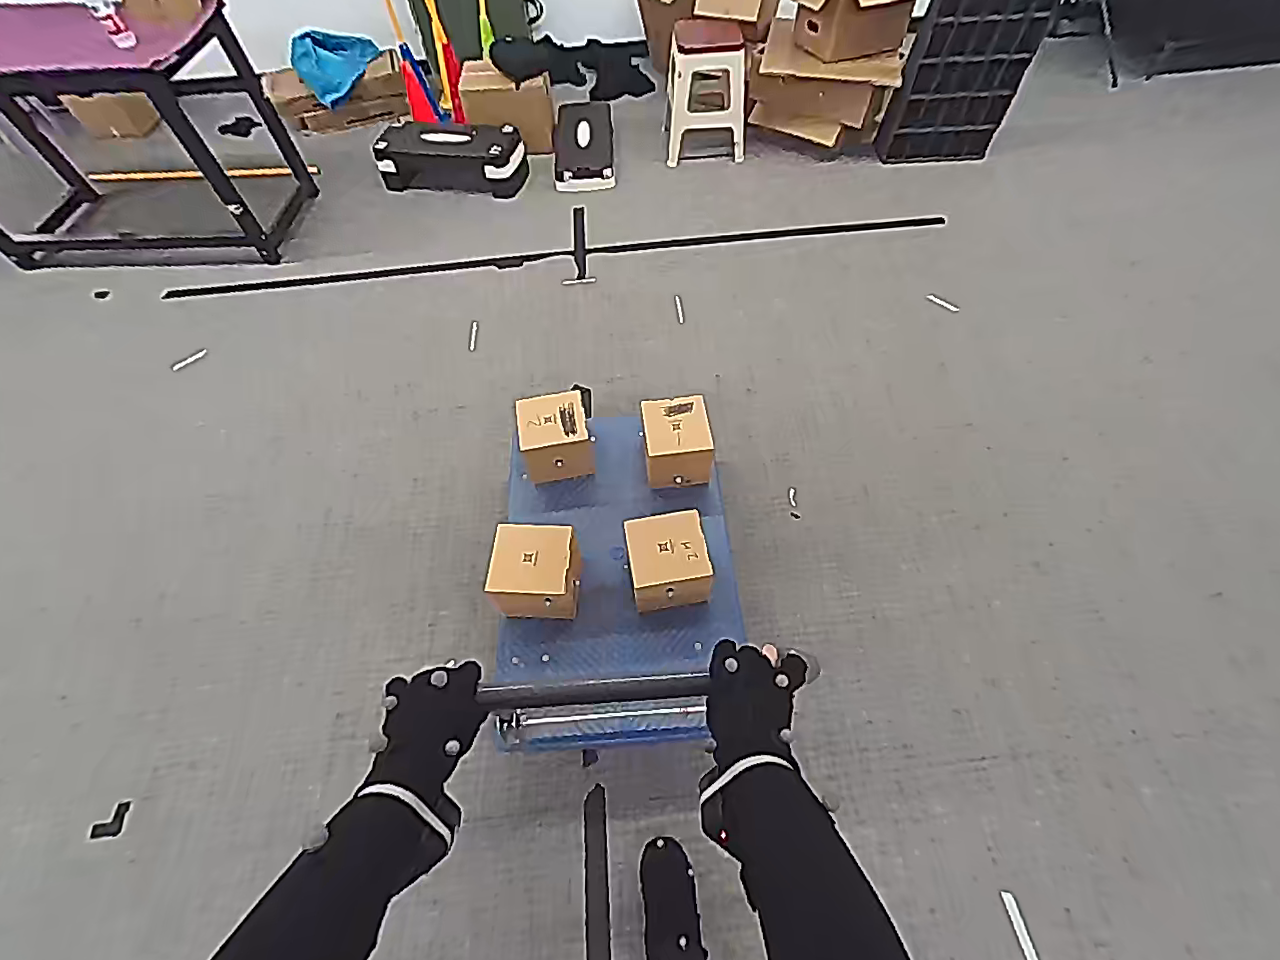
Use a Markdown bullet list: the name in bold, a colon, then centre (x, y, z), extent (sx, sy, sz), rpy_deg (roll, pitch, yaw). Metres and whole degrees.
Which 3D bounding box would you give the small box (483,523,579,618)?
- **small box**: centre (-0.243, 0.214, 1.257), extent (0.179, 0.176, 0.168), rpy_deg (2, 58, 1)

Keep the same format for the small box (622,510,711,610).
- **small box**: centre (0.060, 0.191, 1.258), extent (0.179, 0.176, 0.168), rpy_deg (-9, 59, -3)

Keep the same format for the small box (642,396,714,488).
- **small box**: centre (0.094, -0.099, 1.432), extent (0.168, 0.176, 0.179), rpy_deg (-6, 60, -2)
